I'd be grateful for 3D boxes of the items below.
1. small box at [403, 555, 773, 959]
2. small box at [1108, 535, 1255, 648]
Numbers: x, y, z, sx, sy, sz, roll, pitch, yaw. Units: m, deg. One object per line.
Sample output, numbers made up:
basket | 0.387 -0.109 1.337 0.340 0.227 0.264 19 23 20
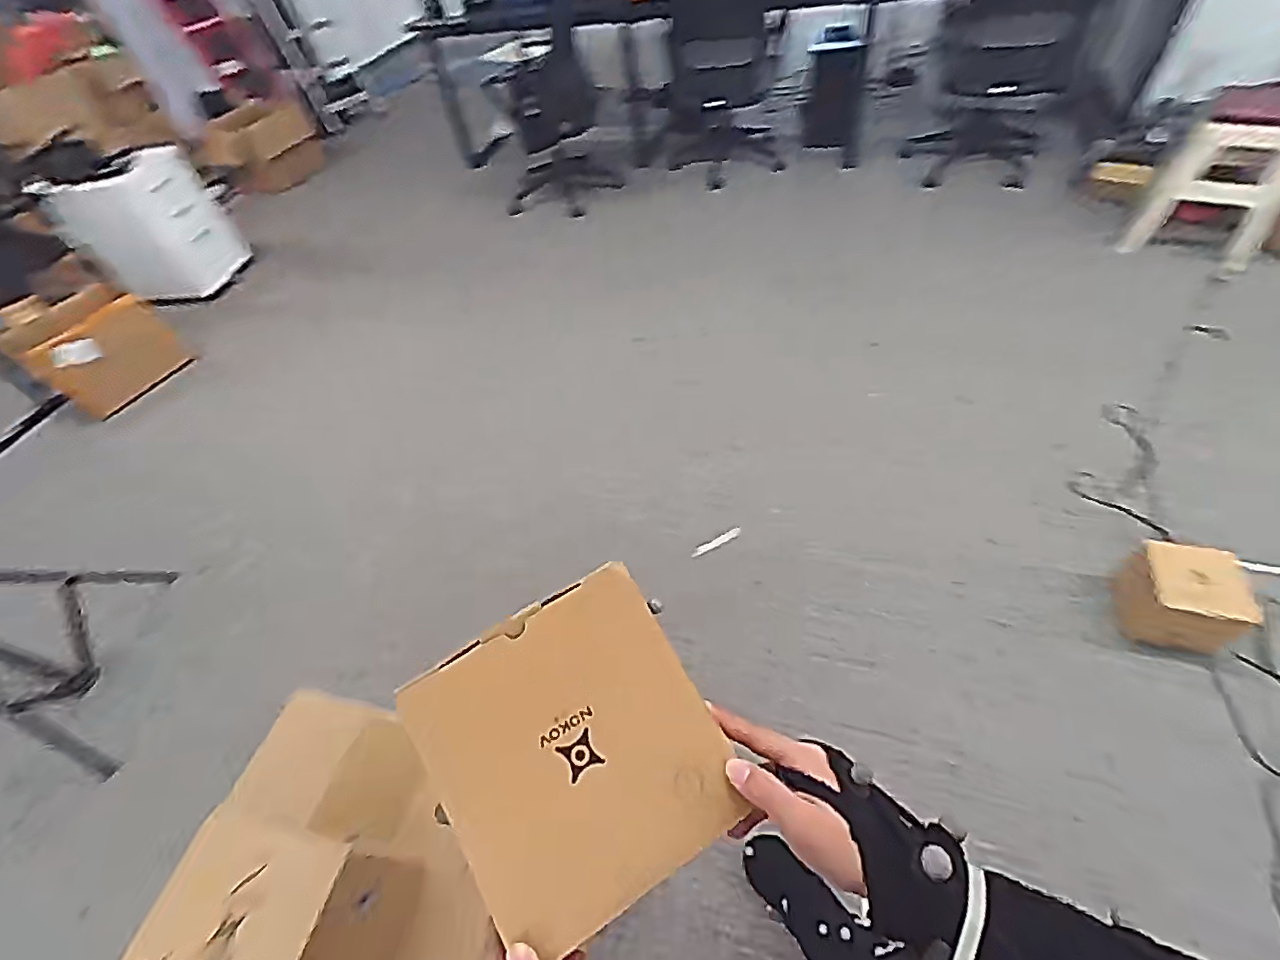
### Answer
small box | -0.036 0.180 0.398 0.168 0.176 0.179 -29 75 -12
small box | 1.216 0.255 1.235 0.168 0.176 0.179 8 54 18
